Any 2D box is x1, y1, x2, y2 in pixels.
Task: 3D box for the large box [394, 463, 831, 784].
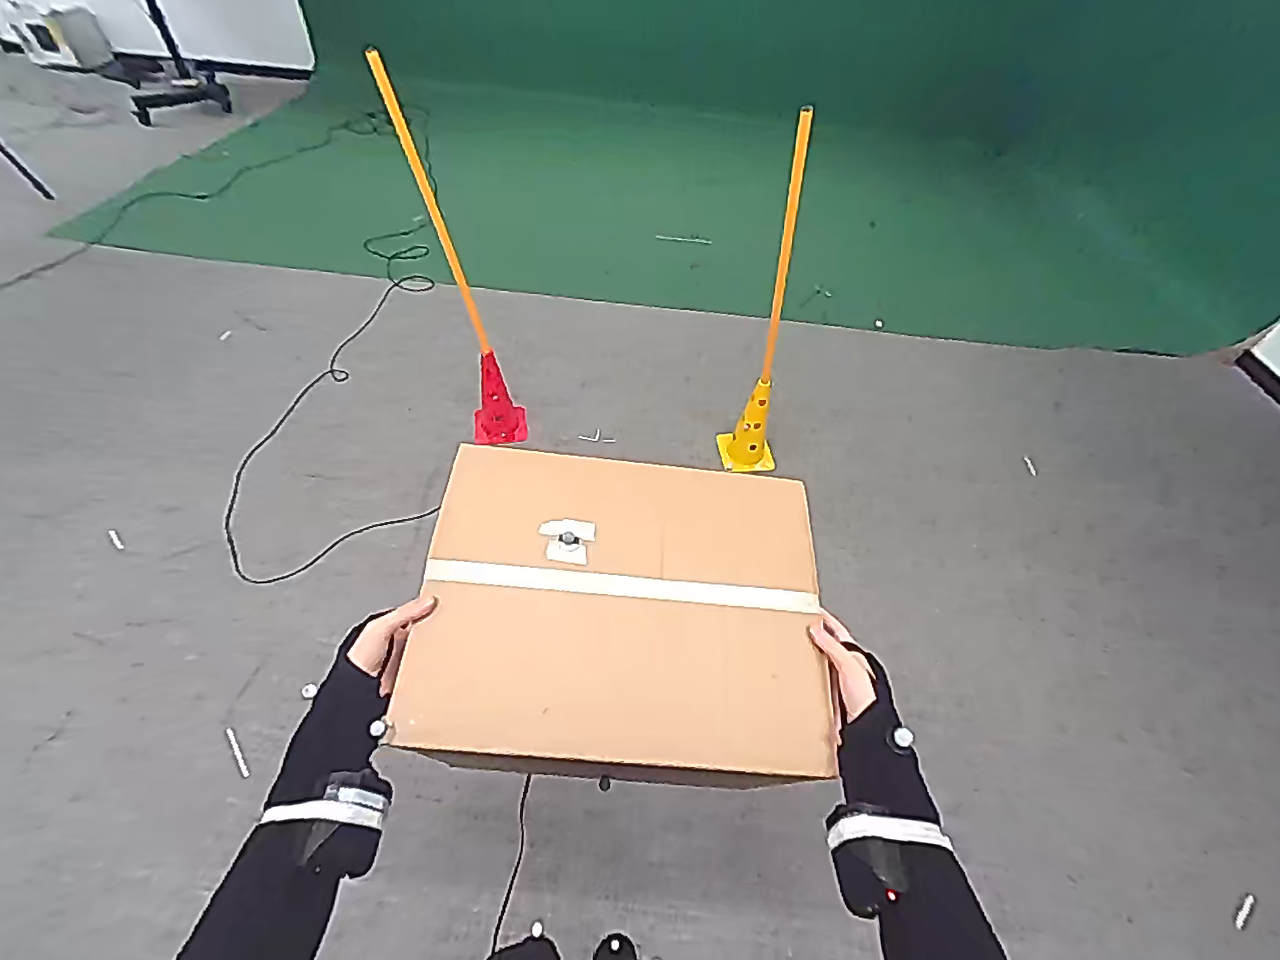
[{"bbox_3d":[-0.026,0.201,0.689,0.408,0.320,0.320,5,57,-3],"label":"large box"}]
